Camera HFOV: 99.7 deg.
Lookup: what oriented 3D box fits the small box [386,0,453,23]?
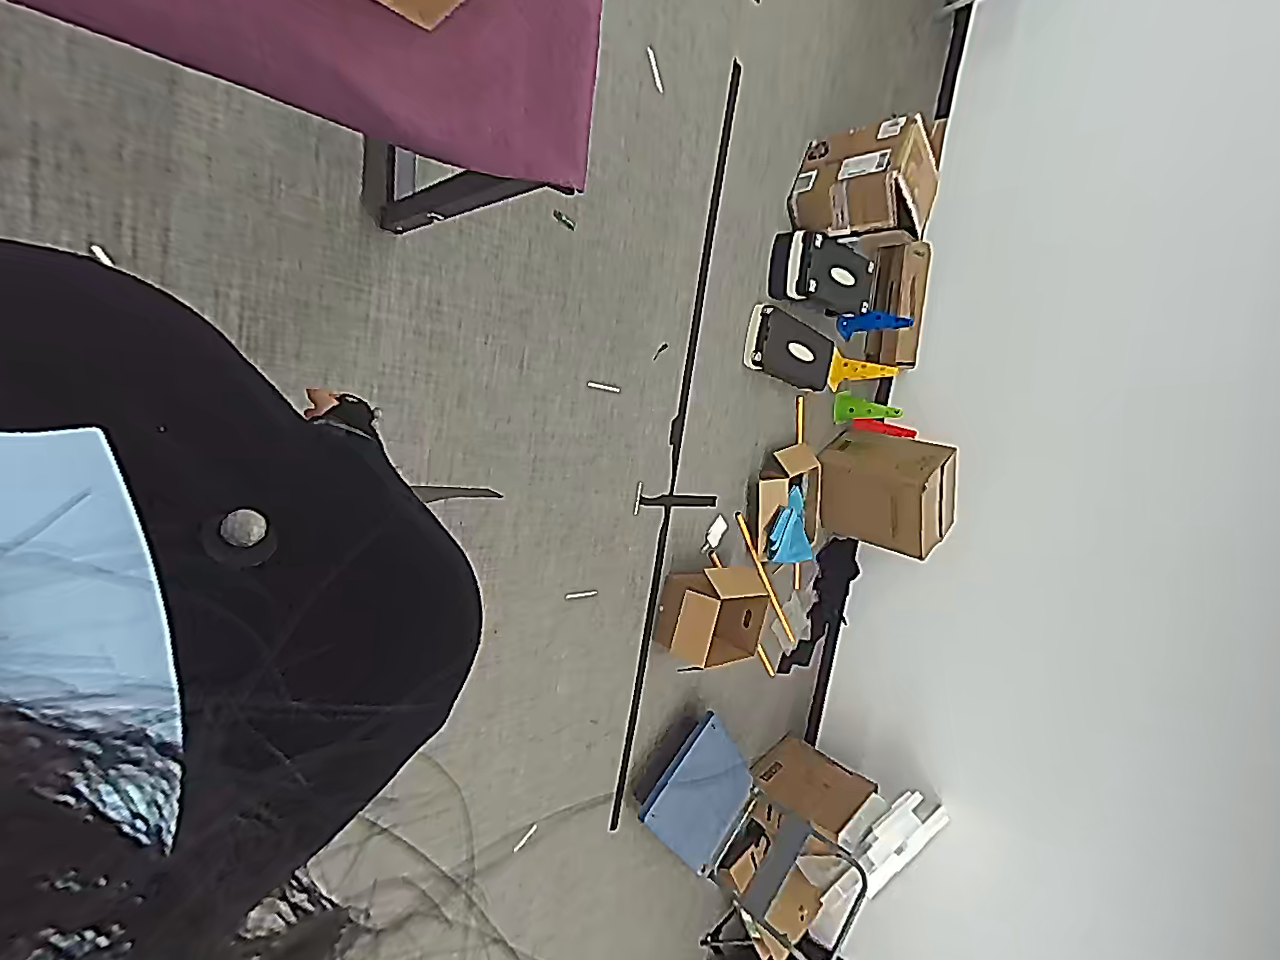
[{"bbox_3d":[-0.265,-0.652,0.580,0.168,0.176,0.179,-1,102,-45],"label":"small box"}]
